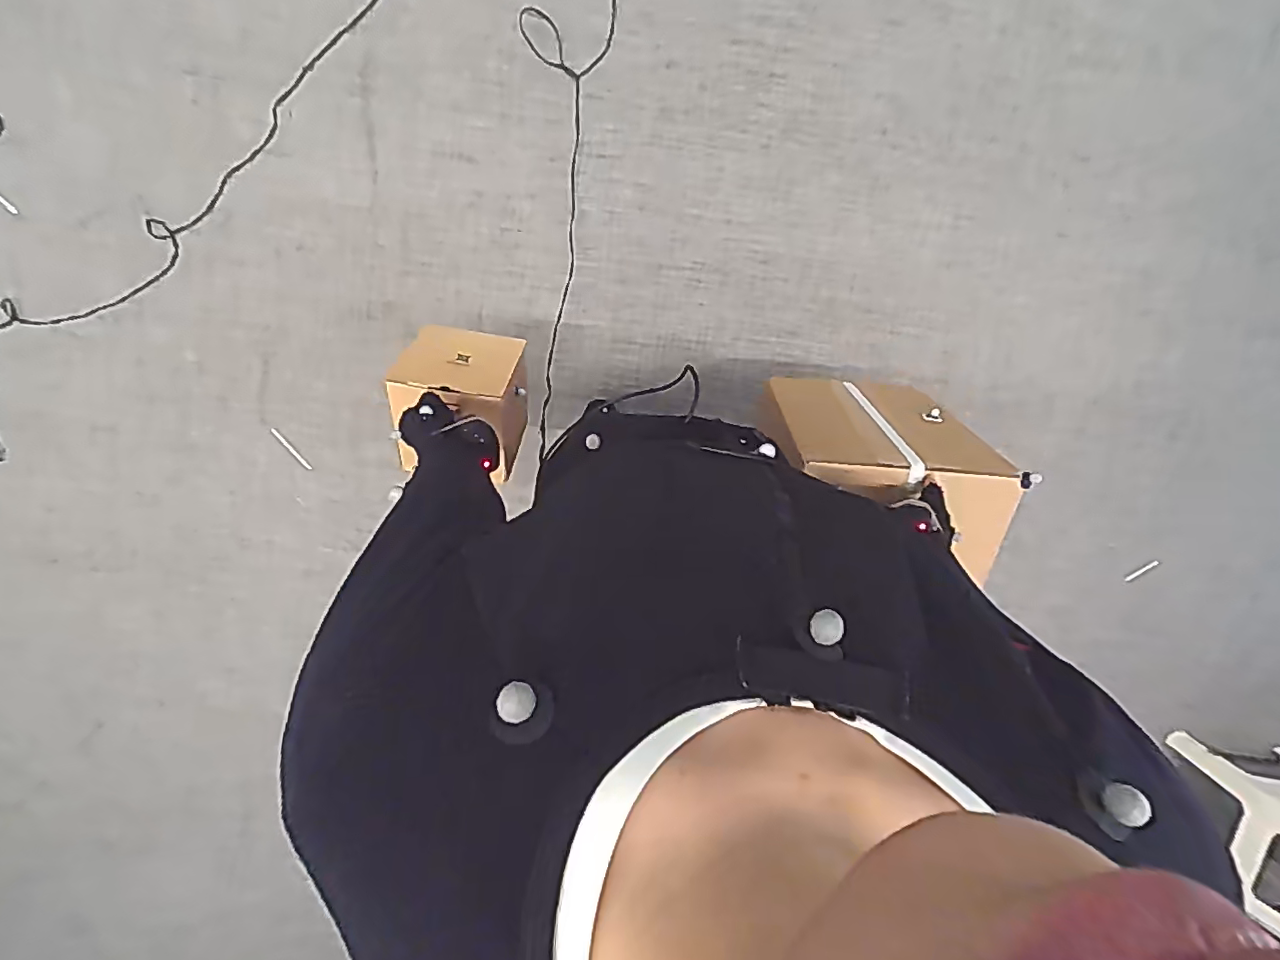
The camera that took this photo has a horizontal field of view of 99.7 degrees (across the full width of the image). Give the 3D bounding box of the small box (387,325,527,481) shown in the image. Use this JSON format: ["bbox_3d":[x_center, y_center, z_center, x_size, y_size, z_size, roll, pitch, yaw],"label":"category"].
[{"bbox_3d":[-0.284,-0.125,0.878,0.168,0.179,0.176,7,132,-3],"label":"small box"}]
